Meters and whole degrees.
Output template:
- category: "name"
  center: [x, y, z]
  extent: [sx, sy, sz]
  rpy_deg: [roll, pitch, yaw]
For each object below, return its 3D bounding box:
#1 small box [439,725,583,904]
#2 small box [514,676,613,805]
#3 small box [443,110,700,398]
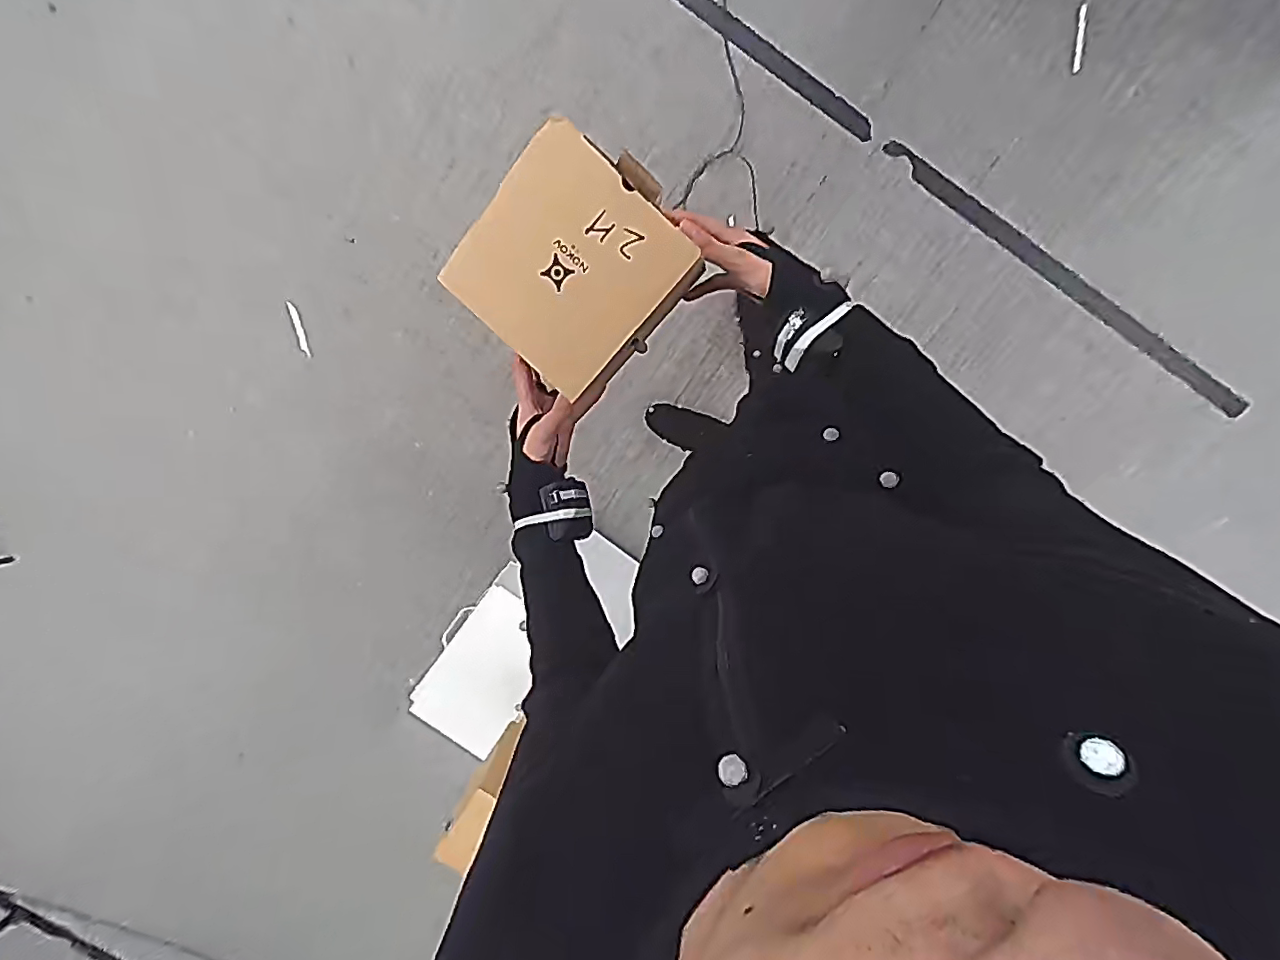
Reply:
- category: "small box"
  center: [-0.215, 0.576, 0.951]
  extent: [0.168, 0.176, 0.179]
  rpy_deg: [32, 105, -3]
- category: "small box"
  center: [-0.172, 0.538, 1.106]
  extent: [0.179, 0.176, 0.168]
  rpy_deg: [29, 104, -1]
- category: "small box"
  center: [-0.052, -0.208, 0.543]
  extent: [0.168, 0.176, 0.179]
  rpy_deg: [43, 106, -6]
